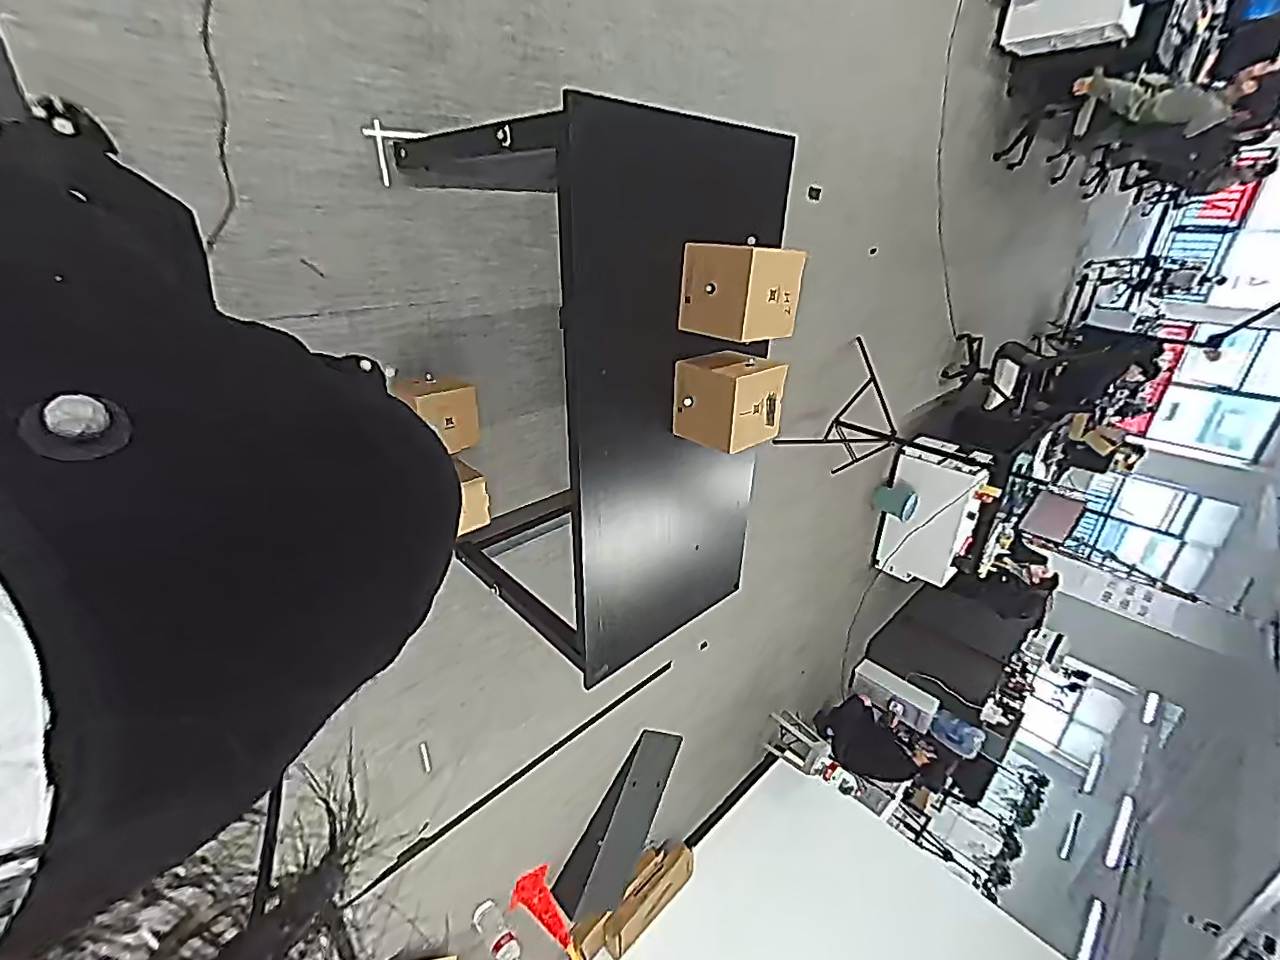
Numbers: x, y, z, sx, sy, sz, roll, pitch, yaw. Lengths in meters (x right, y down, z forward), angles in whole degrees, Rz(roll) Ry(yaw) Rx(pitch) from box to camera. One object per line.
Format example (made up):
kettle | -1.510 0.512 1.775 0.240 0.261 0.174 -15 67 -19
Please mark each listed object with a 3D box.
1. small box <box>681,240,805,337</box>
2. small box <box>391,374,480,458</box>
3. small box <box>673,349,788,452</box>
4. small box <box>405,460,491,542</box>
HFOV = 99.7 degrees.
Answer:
small box | 0.200 -0.384 1.080 0.179 0.176 0.168 -18 122 -40
small box | -0.566 -0.183 1.500 0.168 0.176 0.179 -23 124 -39
small box | 0.193 -0.181 1.176 0.179 0.176 0.168 -22 124 -37
small box | -0.570 0.056 1.611 0.179 0.176 0.168 -23 124 -38
